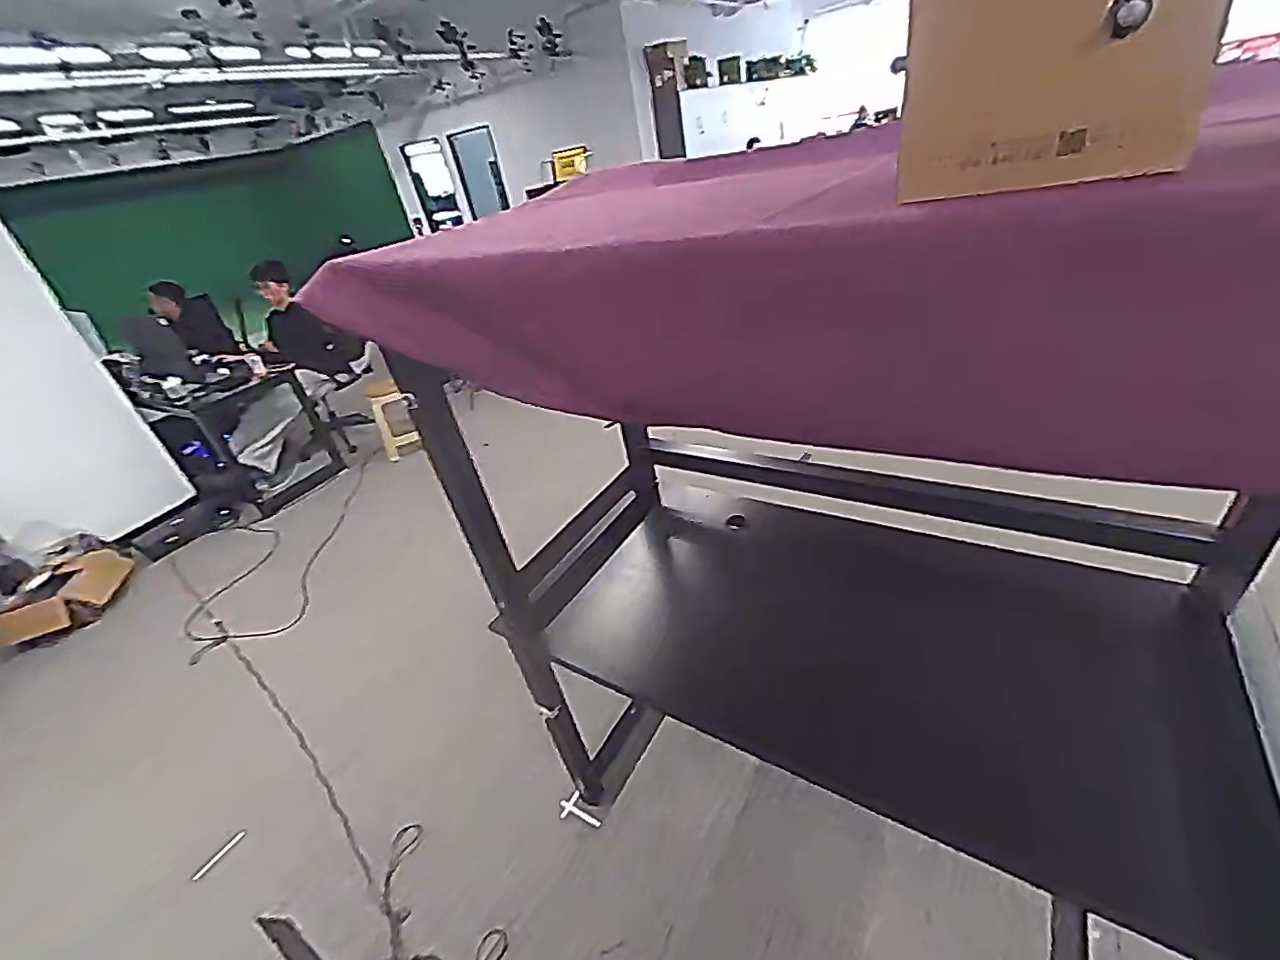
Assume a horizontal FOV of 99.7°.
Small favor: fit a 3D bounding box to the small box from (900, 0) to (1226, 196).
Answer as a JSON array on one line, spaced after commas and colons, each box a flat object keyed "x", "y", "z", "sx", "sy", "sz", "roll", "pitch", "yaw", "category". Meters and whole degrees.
[{"x": 0.292, "y": -0.314, "z": 0.392, "sx": 0.168, "sy": 0.176, "sz": 0.179, "roll": 8, "pitch": 36, "yaw": 28, "category": "small box"}]
